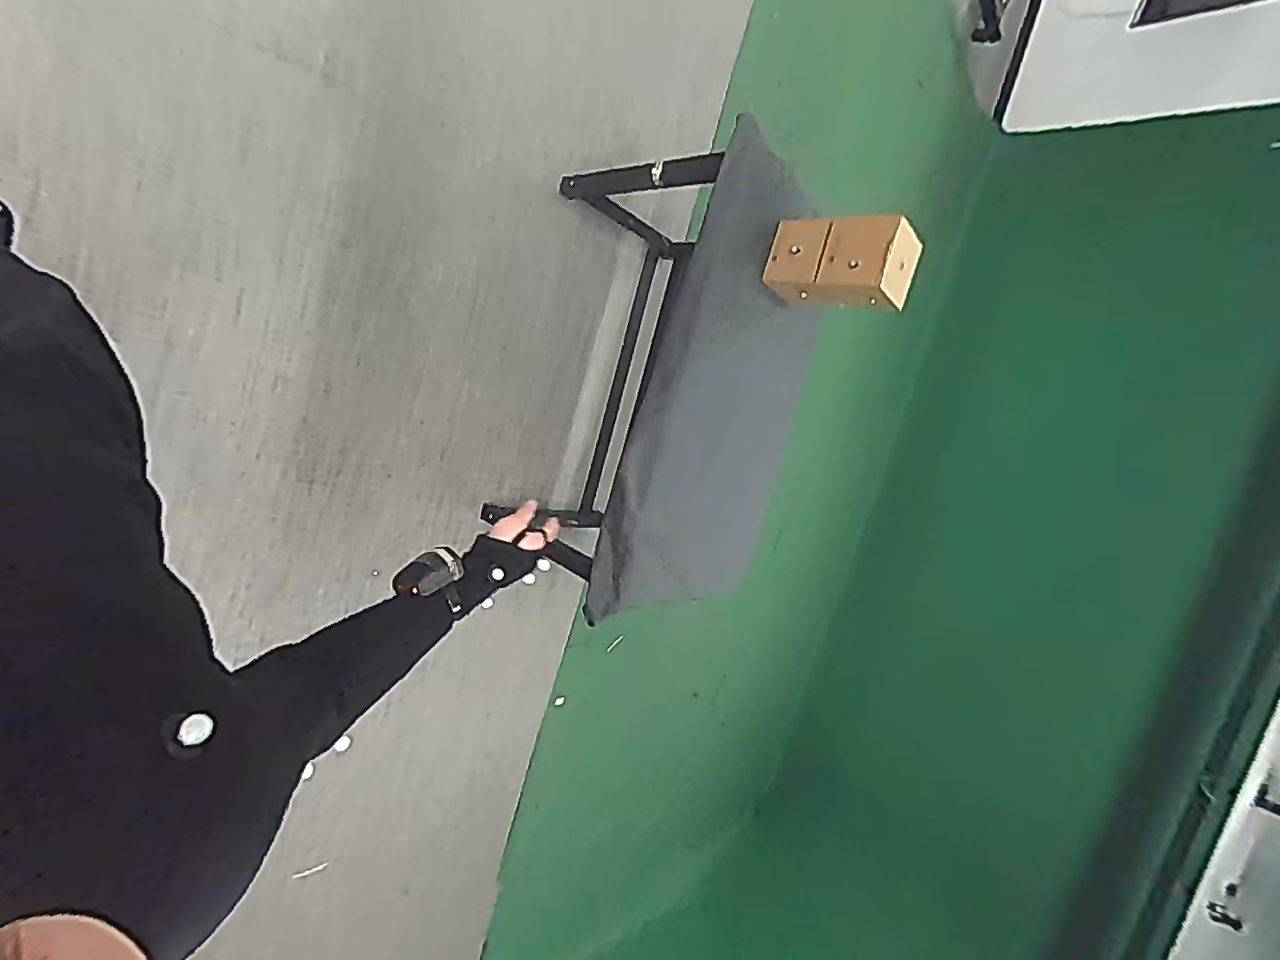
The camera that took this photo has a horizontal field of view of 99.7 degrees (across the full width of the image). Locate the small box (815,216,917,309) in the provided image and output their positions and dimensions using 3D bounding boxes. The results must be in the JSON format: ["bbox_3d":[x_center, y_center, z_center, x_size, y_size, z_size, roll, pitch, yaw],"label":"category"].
[{"bbox_3d":[0.565,-0.542,1.361,0.179,0.176,0.168,7,101,-50],"label":"small box"}]

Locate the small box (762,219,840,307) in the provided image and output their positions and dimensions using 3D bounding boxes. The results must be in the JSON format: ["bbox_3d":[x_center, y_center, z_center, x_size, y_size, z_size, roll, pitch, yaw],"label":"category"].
[{"bbox_3d":[0.458,-0.586,1.476,0.179,0.176,0.168,11,98,-49],"label":"small box"}]
